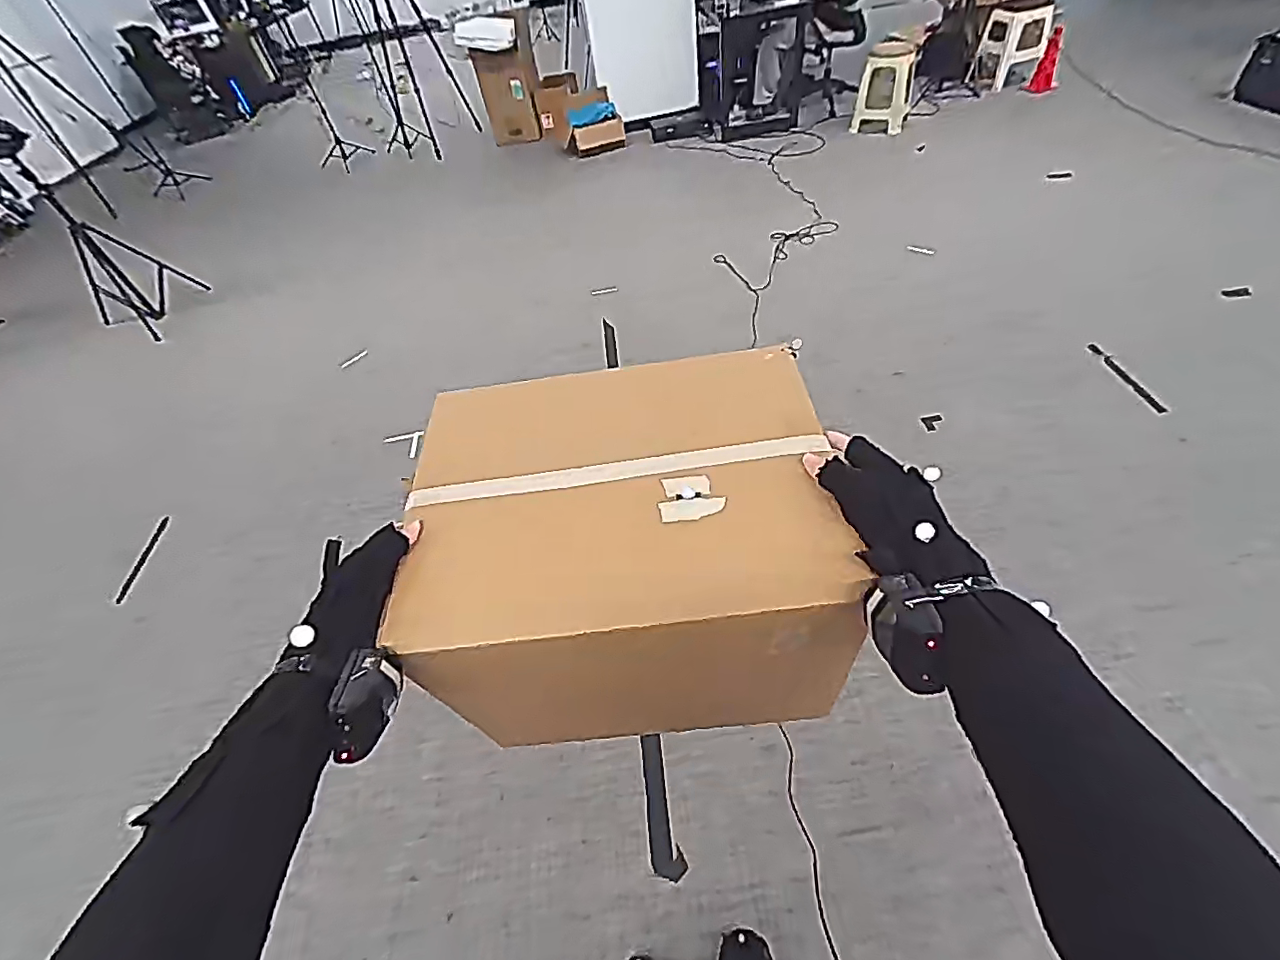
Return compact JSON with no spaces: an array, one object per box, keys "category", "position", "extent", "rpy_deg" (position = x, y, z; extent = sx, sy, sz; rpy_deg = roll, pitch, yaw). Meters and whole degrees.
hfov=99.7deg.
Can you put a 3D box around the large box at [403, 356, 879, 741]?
[{"category":"large box","position":[0.002,0.092,0.647],"extent":[0.408,0.320,0.320],"rpy_deg":[-7,51,2]}]
